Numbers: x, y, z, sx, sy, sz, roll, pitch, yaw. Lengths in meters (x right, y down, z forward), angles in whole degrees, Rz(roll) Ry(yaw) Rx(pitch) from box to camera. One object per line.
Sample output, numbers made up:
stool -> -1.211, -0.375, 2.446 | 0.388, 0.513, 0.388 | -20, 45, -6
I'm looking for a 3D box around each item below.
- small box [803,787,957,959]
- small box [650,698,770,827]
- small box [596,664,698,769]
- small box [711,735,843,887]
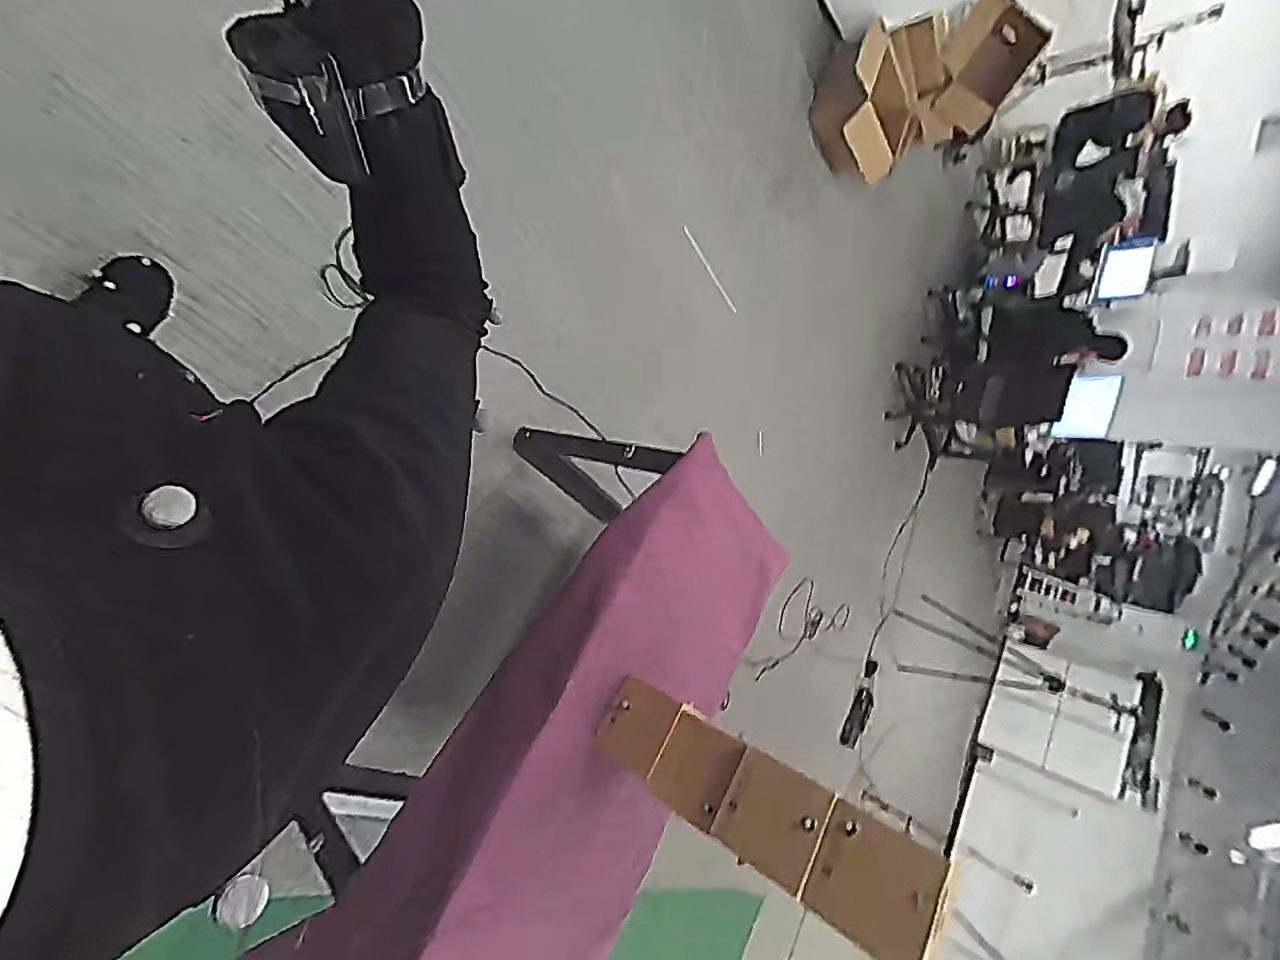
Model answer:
small box -> 0.382, 0.621, 0.861 | 0.179, 0.176, 0.168 | 48, 66, -43
small box -> 0.150, 0.570, 1.089 | 0.168, 0.176, 0.179 | 48, 65, -42
small box -> 0.037, 0.535, 1.199 | 0.168, 0.176, 0.179 | -58, 134, -20
small box -> 0.255, 0.586, 0.962 | 0.168, 0.176, 0.179 | -57, 135, -21
